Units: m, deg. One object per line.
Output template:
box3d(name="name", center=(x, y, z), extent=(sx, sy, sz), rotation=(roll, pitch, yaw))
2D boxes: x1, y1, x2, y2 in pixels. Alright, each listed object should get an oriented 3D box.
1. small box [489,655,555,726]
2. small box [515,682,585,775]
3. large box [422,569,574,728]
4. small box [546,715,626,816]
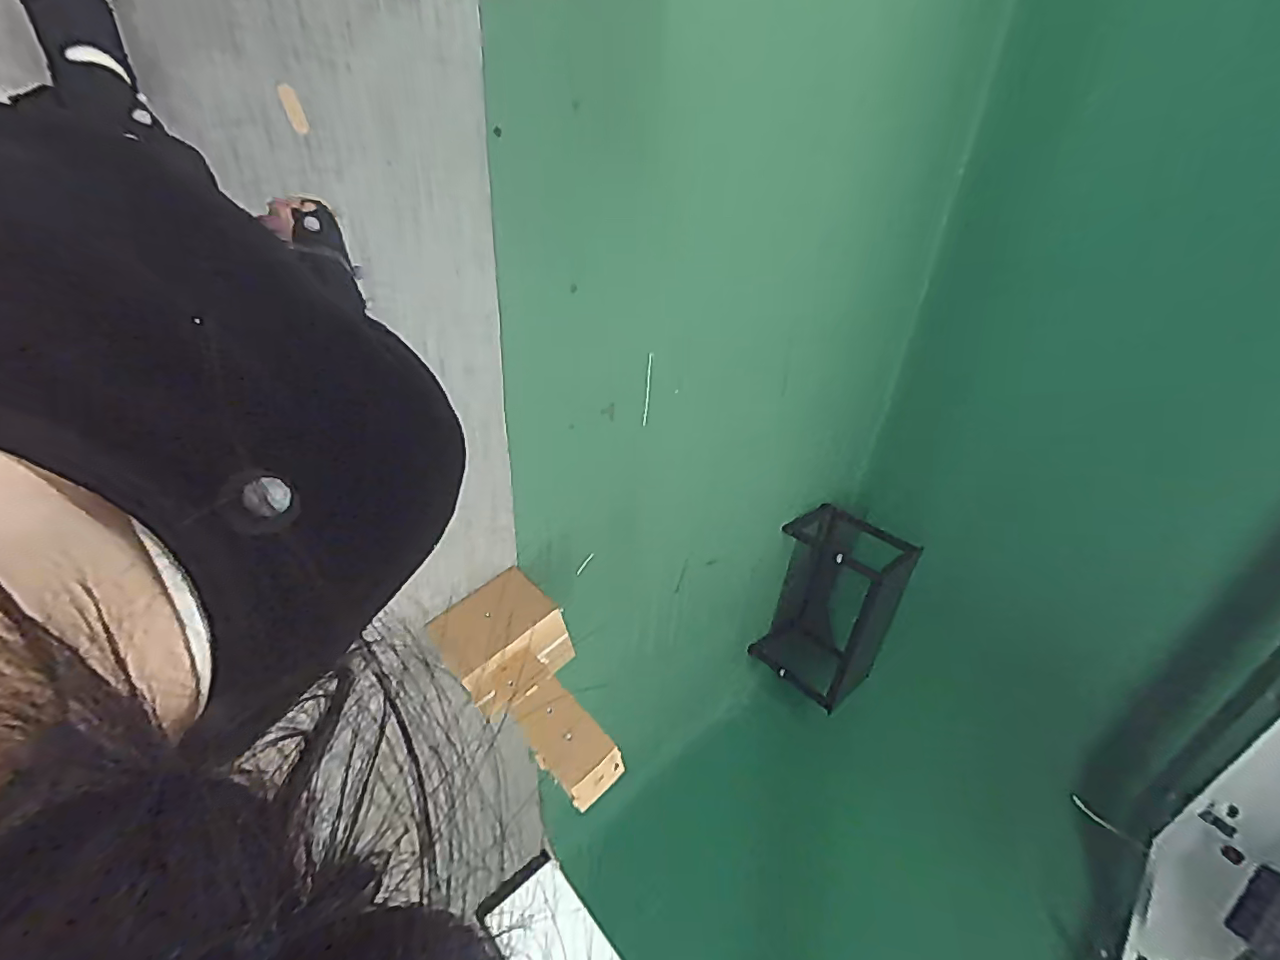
box3d(name="small box", center=(-0.389, 0.727, 1.845), extent=(0.168, 0.176, 0.179), rotation=(-34, 135, -28))
box3d(name="small box", center=(-0.281, 0.797, 1.743), extent=(0.179, 0.176, 0.168), rotation=(-35, 135, -28))
box3d(name="large box", center=(-0.521, 0.618, 2.024), extent=(0.408, 0.320, 0.320), rotation=(-36, 137, -29))
box3d(name="small box", center=(-0.169, 0.864, 1.644), extent=(0.179, 0.176, 0.168), rotation=(-33, 135, -27))
